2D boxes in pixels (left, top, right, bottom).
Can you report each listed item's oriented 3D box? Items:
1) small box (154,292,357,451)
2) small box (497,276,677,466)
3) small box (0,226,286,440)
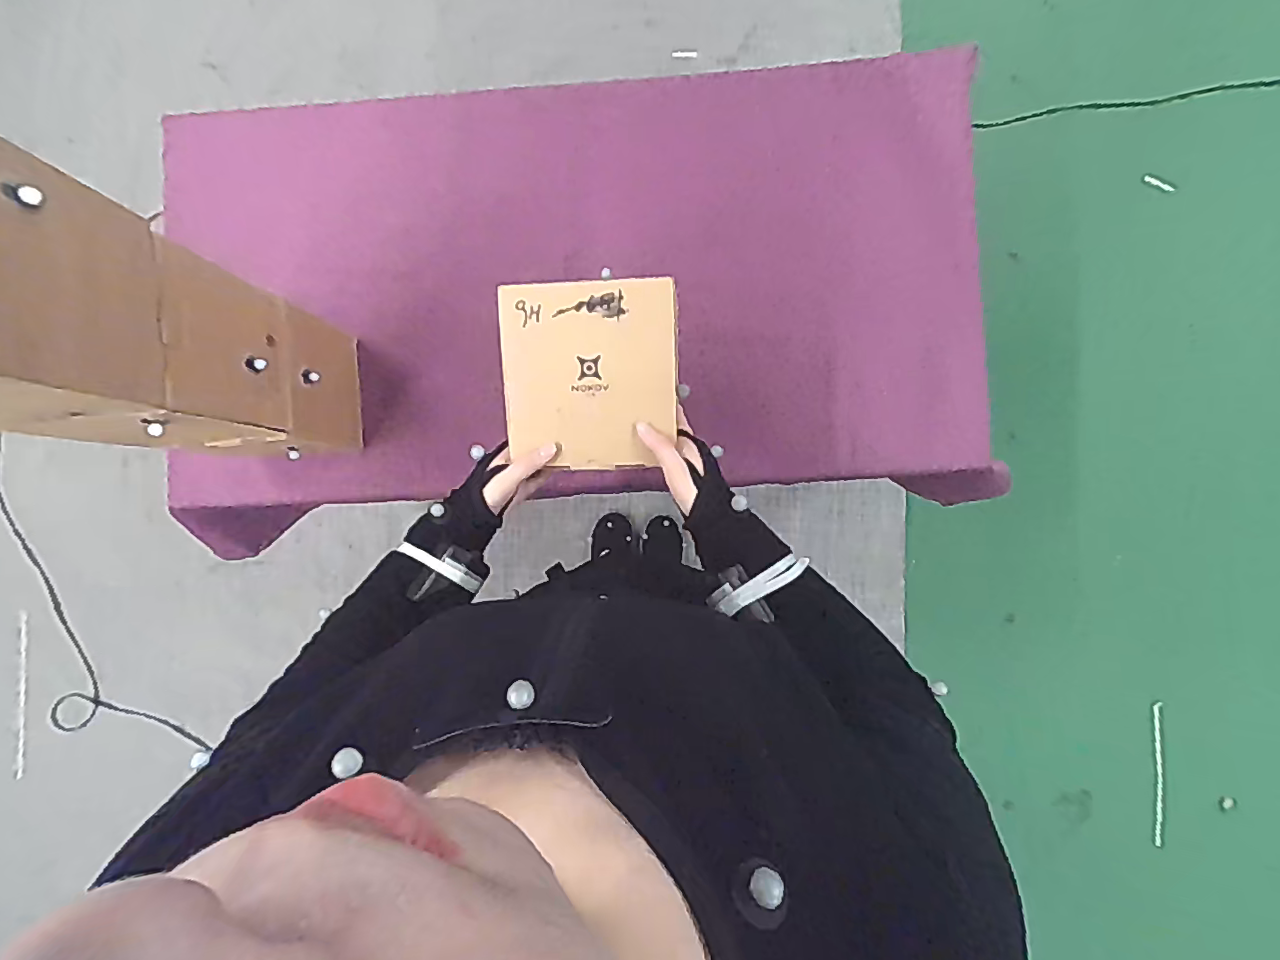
[{"bbox_3d":[-0.503,-0.132,0.725,0.168,0.176,0.179,-4,88,1],"label":"small box"},{"bbox_3d":[-0.043,-0.116,0.588,0.168,0.176,0.179,-1,101,4],"label":"small box"},{"bbox_3d":[-0.512,-0.137,0.563,0.179,0.176,0.168,-6,88,0],"label":"small box"}]
